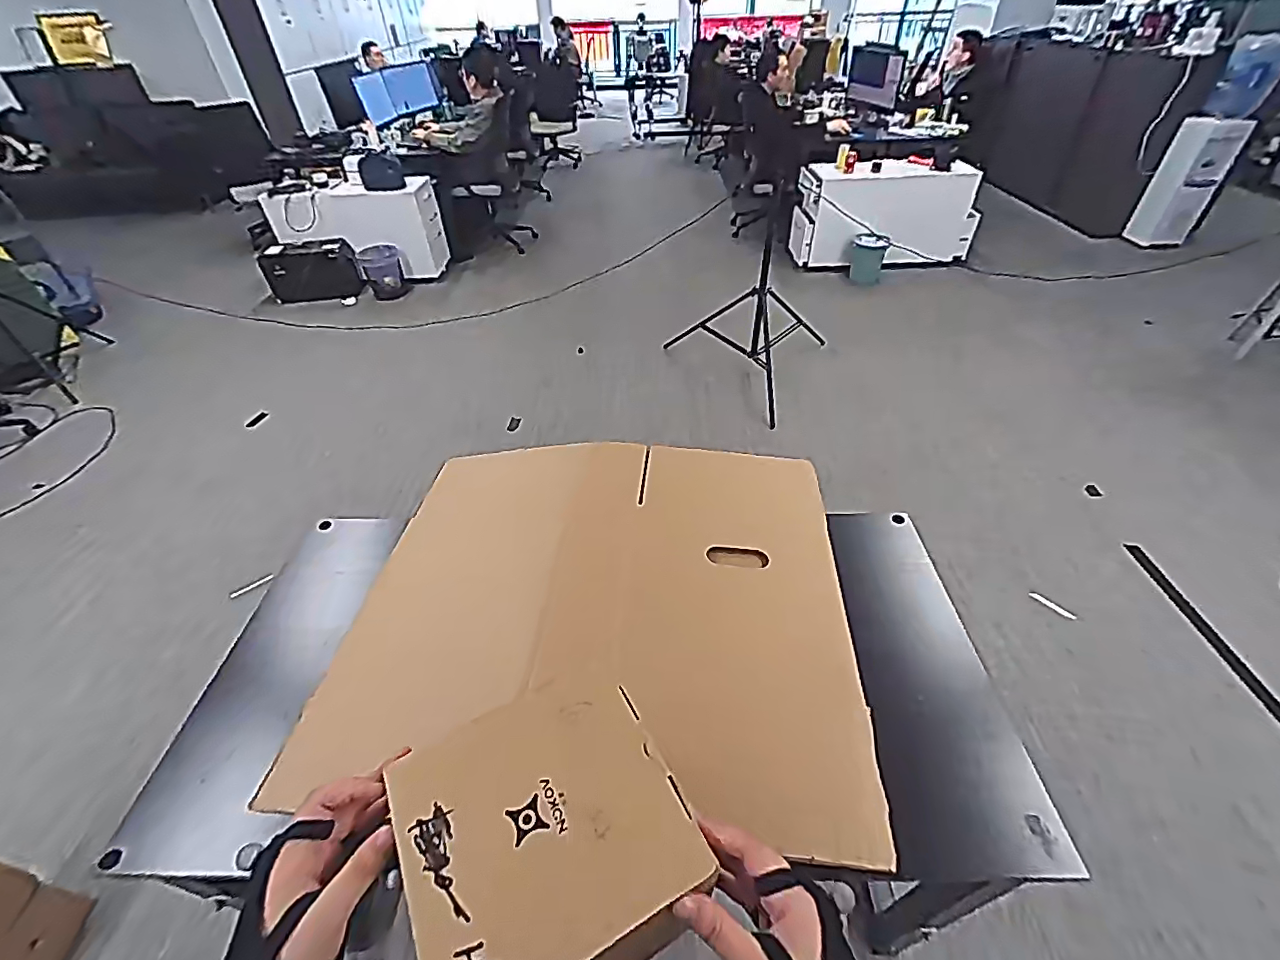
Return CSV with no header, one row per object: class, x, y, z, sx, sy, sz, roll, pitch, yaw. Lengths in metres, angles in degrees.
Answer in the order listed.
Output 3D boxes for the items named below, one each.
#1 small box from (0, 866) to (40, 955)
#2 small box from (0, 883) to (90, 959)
small box,-1.328,0.847,1.023,0.168,0.176,0.179,-5,41,-4
small box,-1.323,0.973,1.126,0.168,0.176,0.179,-4,42,-2
